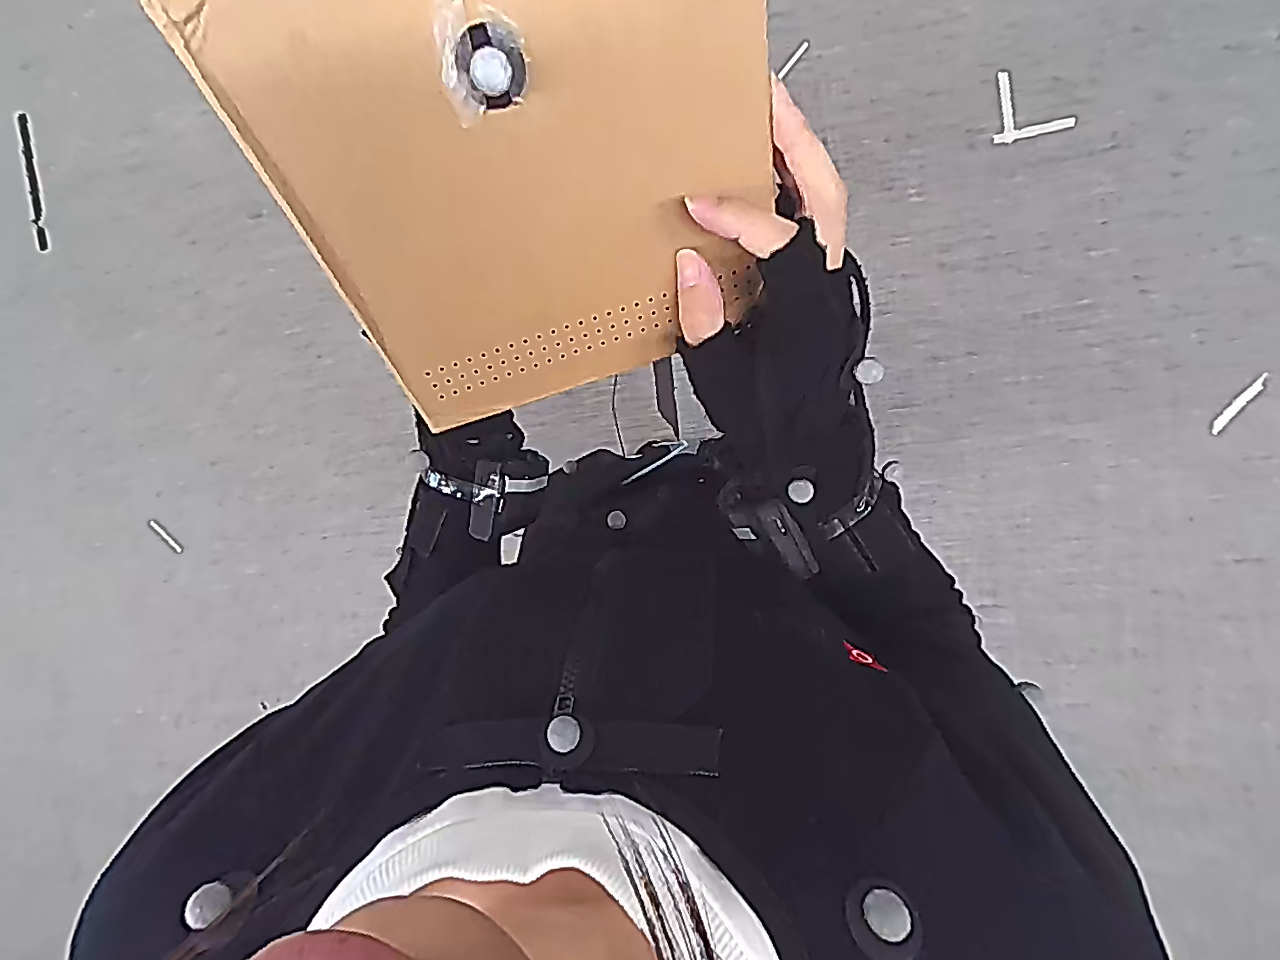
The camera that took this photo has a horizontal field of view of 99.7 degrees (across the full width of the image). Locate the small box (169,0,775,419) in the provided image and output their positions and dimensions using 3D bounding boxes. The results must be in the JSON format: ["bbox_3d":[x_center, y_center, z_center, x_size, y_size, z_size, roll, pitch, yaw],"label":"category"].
[{"bbox_3d":[-0.047,-0.155,0.260,0.179,0.168,0.176,-18,136,0],"label":"small box"}]
